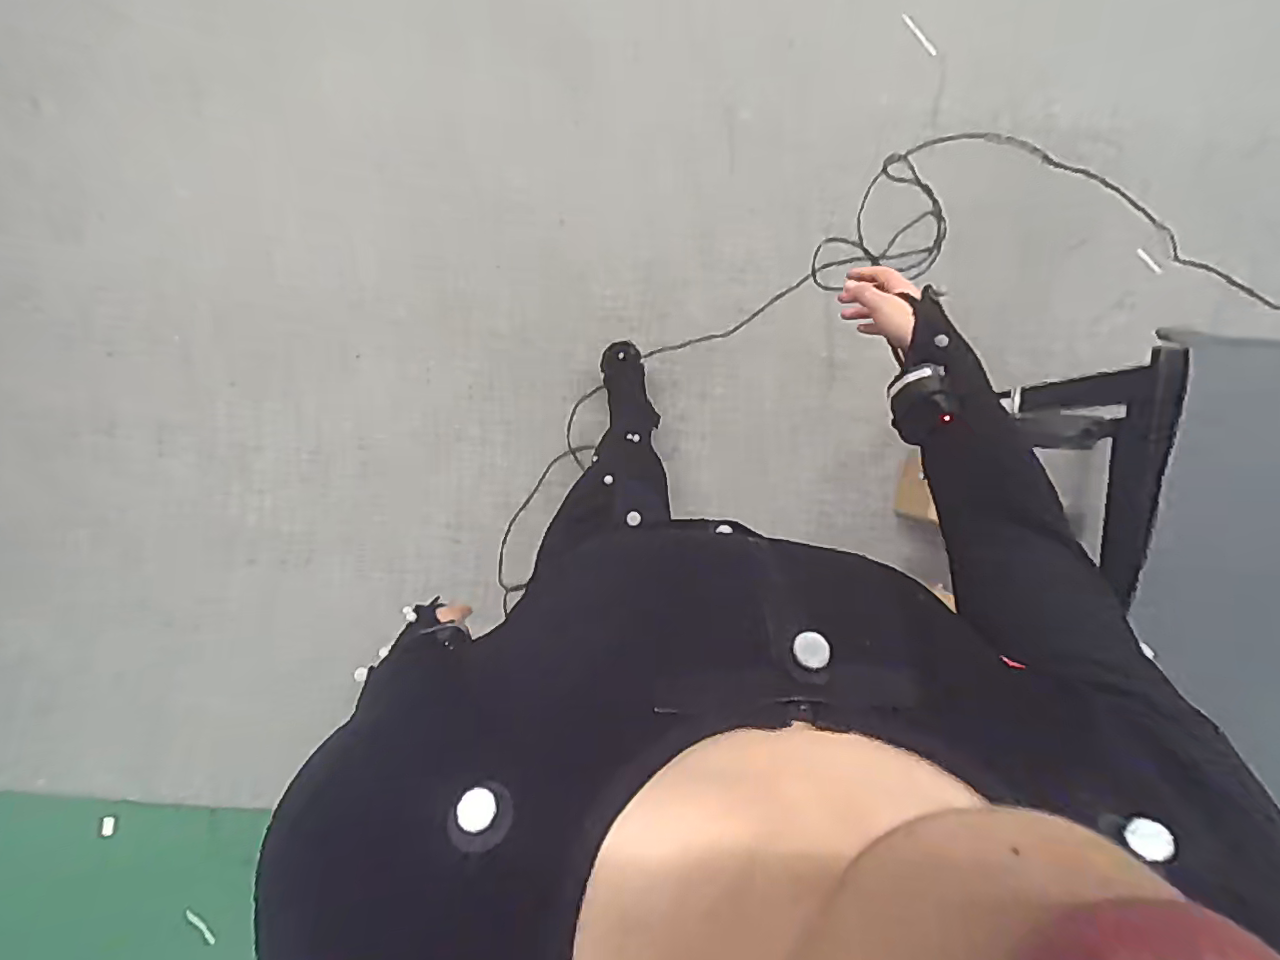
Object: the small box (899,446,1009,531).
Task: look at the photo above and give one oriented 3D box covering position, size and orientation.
[{"bbox_3d":[0.808,0.020,1.410,0.168,0.176,0.179,16,91,-2],"label":"small box"}]
